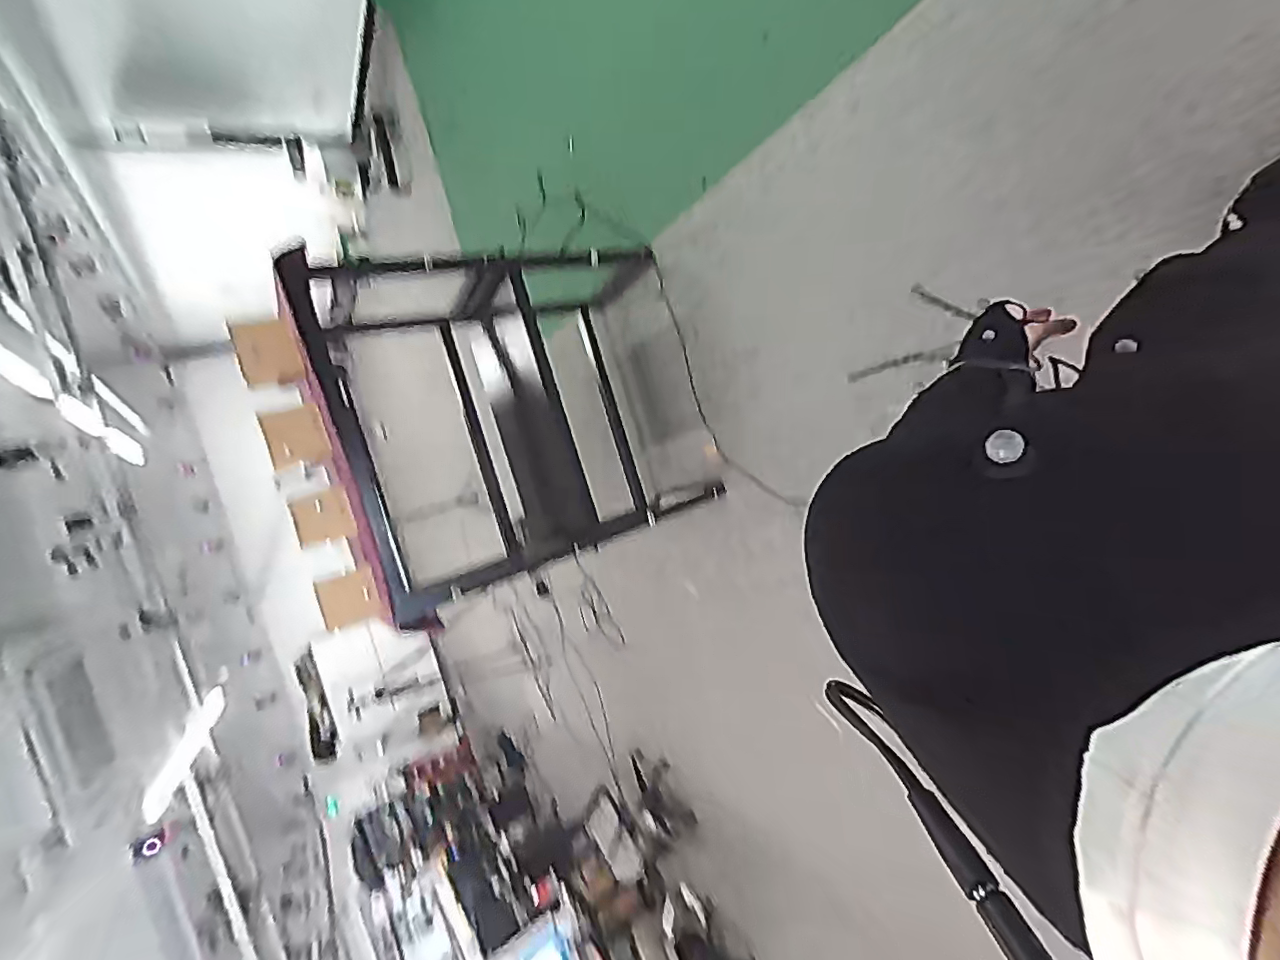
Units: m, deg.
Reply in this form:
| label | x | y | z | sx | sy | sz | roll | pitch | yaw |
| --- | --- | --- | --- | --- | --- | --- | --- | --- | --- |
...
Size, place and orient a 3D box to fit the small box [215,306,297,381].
| label | x | y | z | sx | sy | sz | roll | pitch | yaw |
| --- | --- | --- | --- | --- | --- | --- | --- | --- | --- |
| small box | -1.197 | -0.429 | 1.700 | 0.168 | 0.176 | 0.179 | -13 | 95 | 58 |

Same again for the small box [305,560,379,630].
| label | x | y | z | sx | sy | sz | roll | pitch | yaw |
| --- | --- | --- | --- | --- | --- | --- | --- | --- | --- |
| small box | -0.953 | 0.360 | 1.726 | 0.168 | 0.176 | 0.179 | -18 | 89 | 57 |

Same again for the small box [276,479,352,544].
| label | x | y | z | sx | sy | sz | roll | pitch | yaw |
| --- | --- | --- | --- | --- | --- | --- | --- | --- | --- |
| small box | -1.034 | 0.098 | 1.722 | 0.179 | 0.176 | 0.168 | -10 | 96 | 58 |
